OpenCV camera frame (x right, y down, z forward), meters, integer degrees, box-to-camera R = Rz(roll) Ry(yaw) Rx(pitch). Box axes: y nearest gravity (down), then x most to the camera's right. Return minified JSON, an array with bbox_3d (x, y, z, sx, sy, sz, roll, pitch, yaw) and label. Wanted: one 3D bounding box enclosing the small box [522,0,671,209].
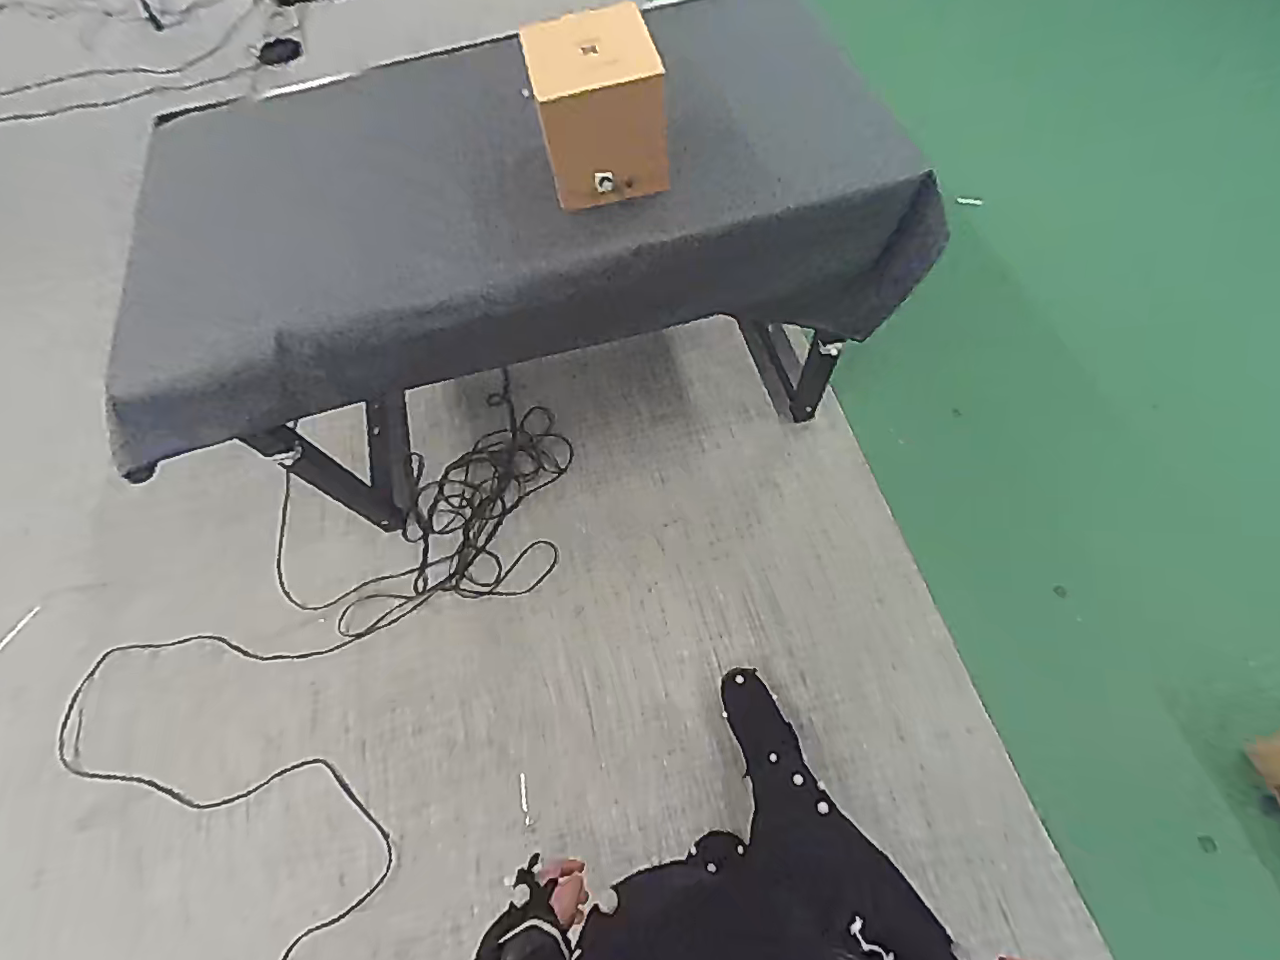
[{"bbox_3d":[-0.056,-0.528,0.770,0.168,0.176,0.179,-15,66,0],"label":"small box"}]
